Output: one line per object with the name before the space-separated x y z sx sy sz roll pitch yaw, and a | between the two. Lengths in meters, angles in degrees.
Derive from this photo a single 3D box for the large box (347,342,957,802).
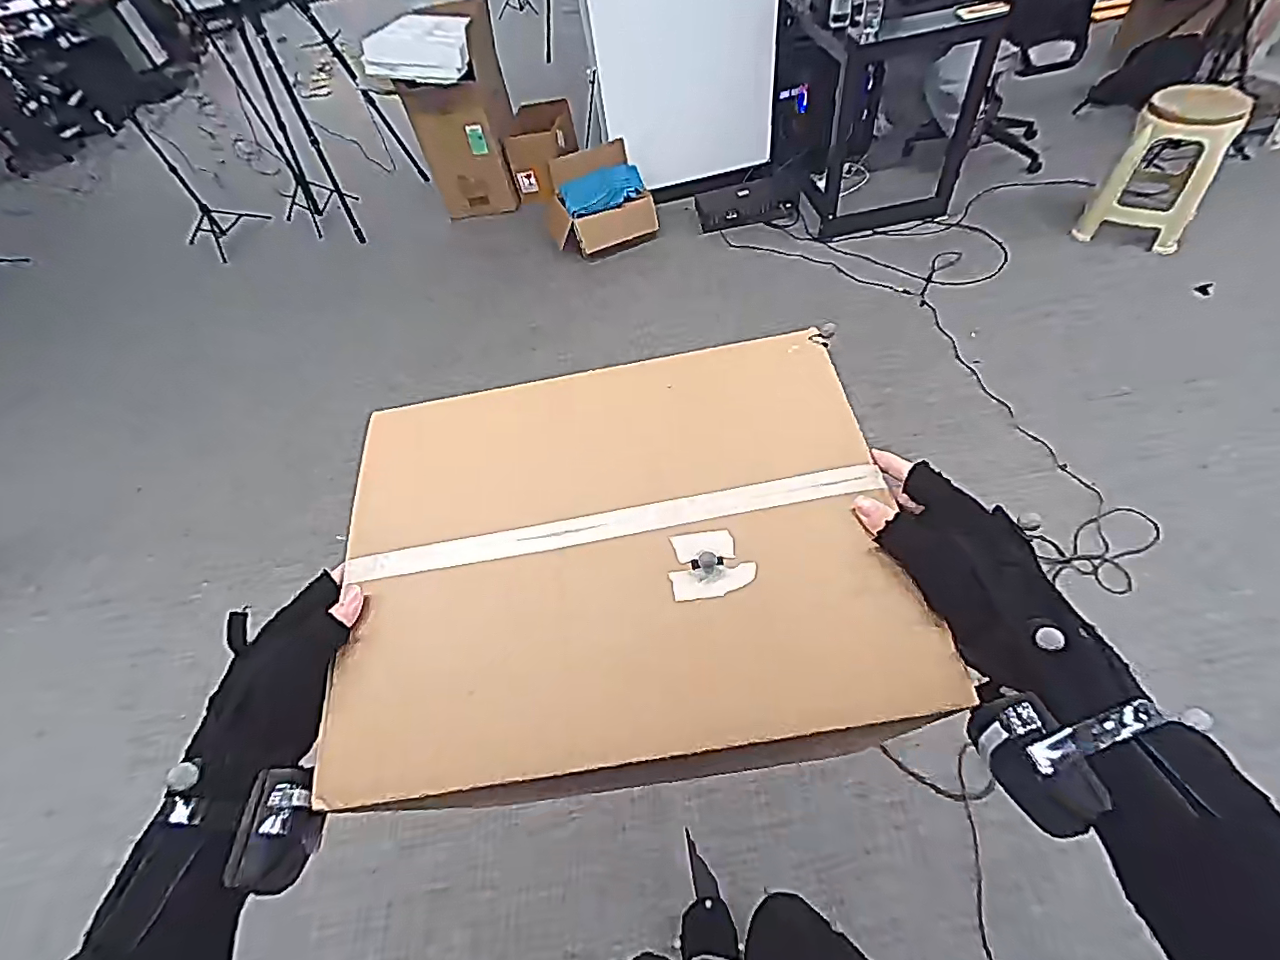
large box | 0.001 0.114 0.544 0.408 0.320 0.320 -10 59 2
